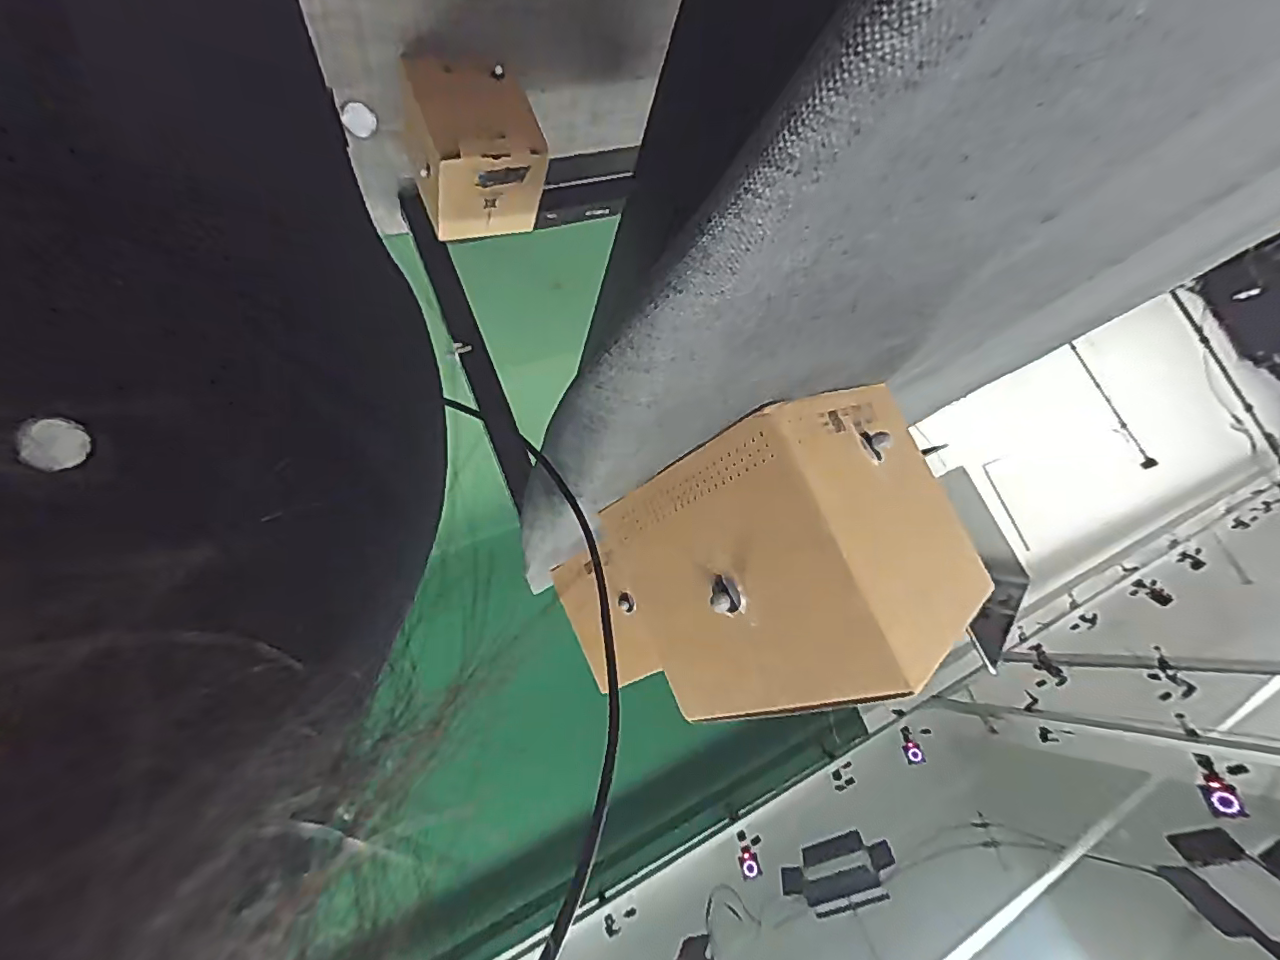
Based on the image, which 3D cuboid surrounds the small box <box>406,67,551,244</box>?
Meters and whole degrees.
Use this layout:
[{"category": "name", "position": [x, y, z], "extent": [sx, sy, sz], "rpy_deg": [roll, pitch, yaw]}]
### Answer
[{"category": "small box", "position": [-0.259, -0.508, 0.852], "extent": [0.168, 0.176, 0.179], "rpy_deg": [-18, 170, -24]}]

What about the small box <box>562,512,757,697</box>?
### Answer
[{"category": "small box", "position": [0.026, 0.153, 0.716], "extent": [0.168, 0.176, 0.179], "rpy_deg": [-31, 168, 23]}]
